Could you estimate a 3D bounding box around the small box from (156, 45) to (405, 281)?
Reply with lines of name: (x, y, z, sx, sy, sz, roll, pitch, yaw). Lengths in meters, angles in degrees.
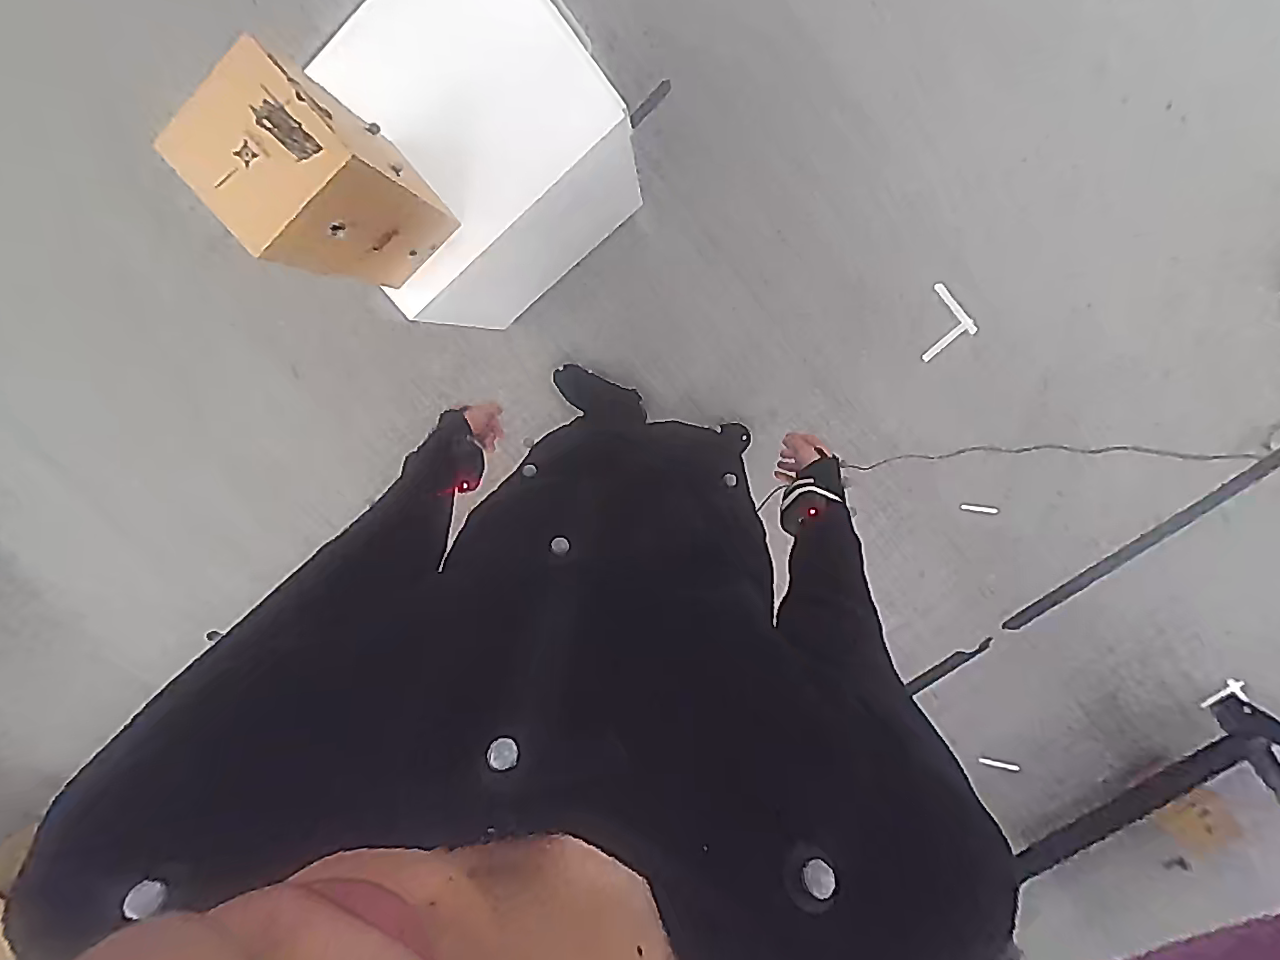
small box: (-0.436, -0.382, 0.693, 0.179, 0.176, 0.168, -39, 98, 12)

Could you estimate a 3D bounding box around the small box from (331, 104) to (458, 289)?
small box: (-0.427, -0.426, 0.852, 0.168, 0.176, 0.179, -39, 98, 12)
